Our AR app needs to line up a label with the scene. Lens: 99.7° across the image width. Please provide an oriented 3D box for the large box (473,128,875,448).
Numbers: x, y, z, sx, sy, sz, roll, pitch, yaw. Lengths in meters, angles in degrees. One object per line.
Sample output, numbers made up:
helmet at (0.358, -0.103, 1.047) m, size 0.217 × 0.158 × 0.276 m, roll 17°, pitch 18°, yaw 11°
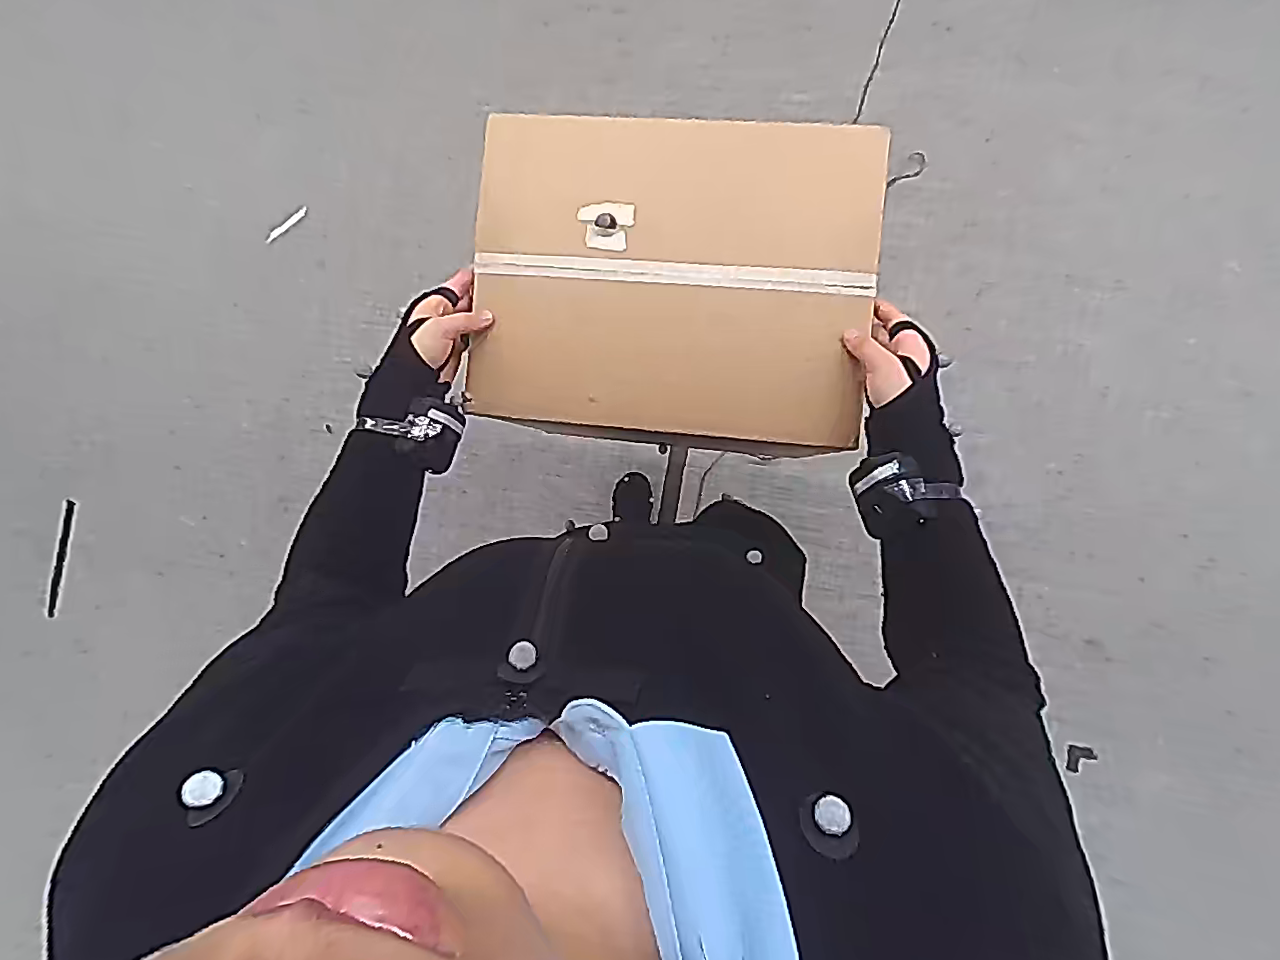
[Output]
large box at (0.045, -0.210, 0.706) m, size 0.408 × 0.320 × 0.320 m, roll 5°, pitch 90°, yaw 6°
